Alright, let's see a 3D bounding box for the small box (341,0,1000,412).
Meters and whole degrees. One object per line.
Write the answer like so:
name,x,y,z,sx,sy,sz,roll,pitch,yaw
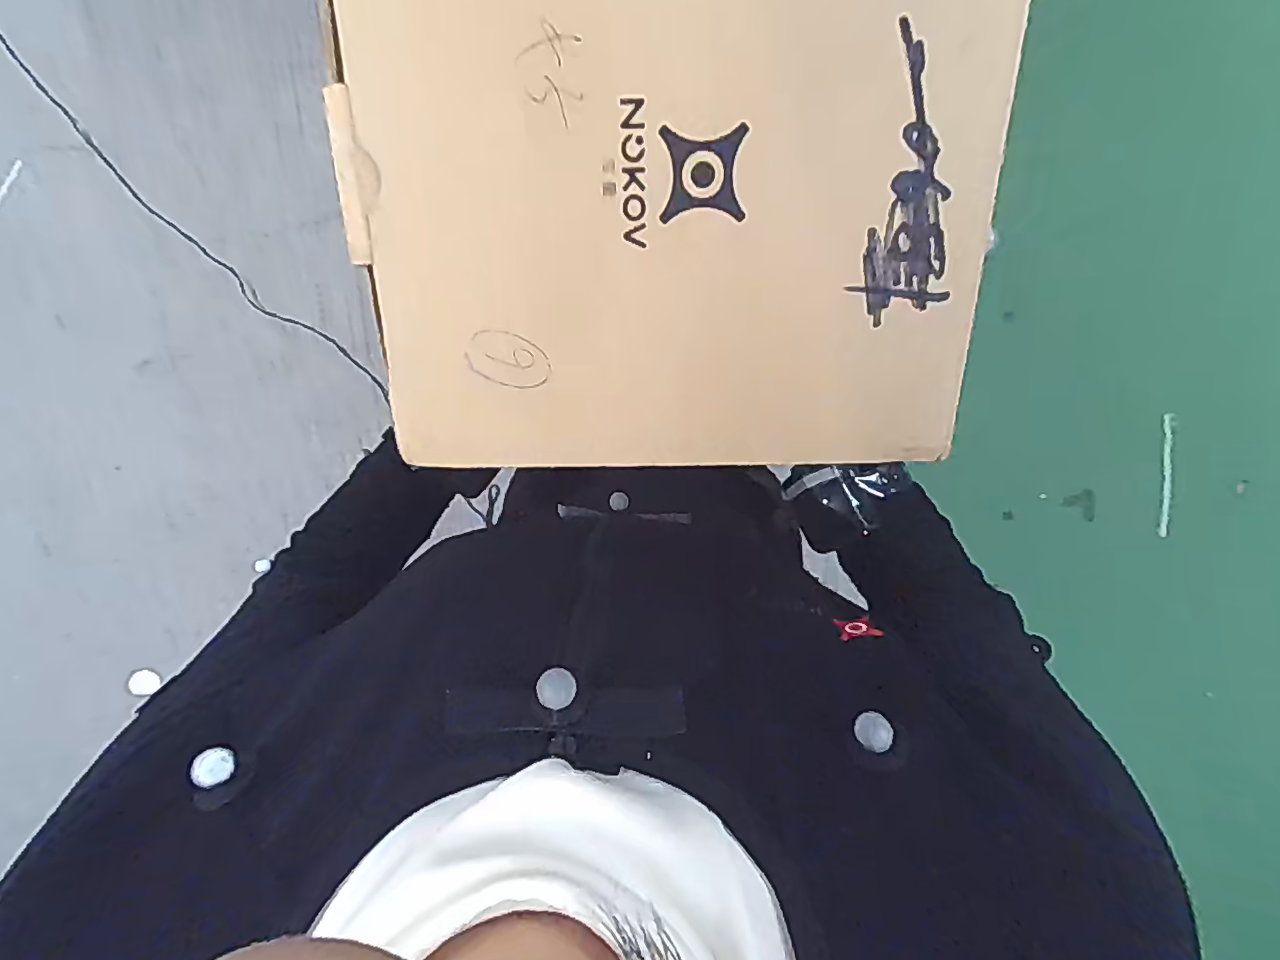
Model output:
small box,0.011,-0.126,0.227,0.179,0.176,0.168,-3,109,2
